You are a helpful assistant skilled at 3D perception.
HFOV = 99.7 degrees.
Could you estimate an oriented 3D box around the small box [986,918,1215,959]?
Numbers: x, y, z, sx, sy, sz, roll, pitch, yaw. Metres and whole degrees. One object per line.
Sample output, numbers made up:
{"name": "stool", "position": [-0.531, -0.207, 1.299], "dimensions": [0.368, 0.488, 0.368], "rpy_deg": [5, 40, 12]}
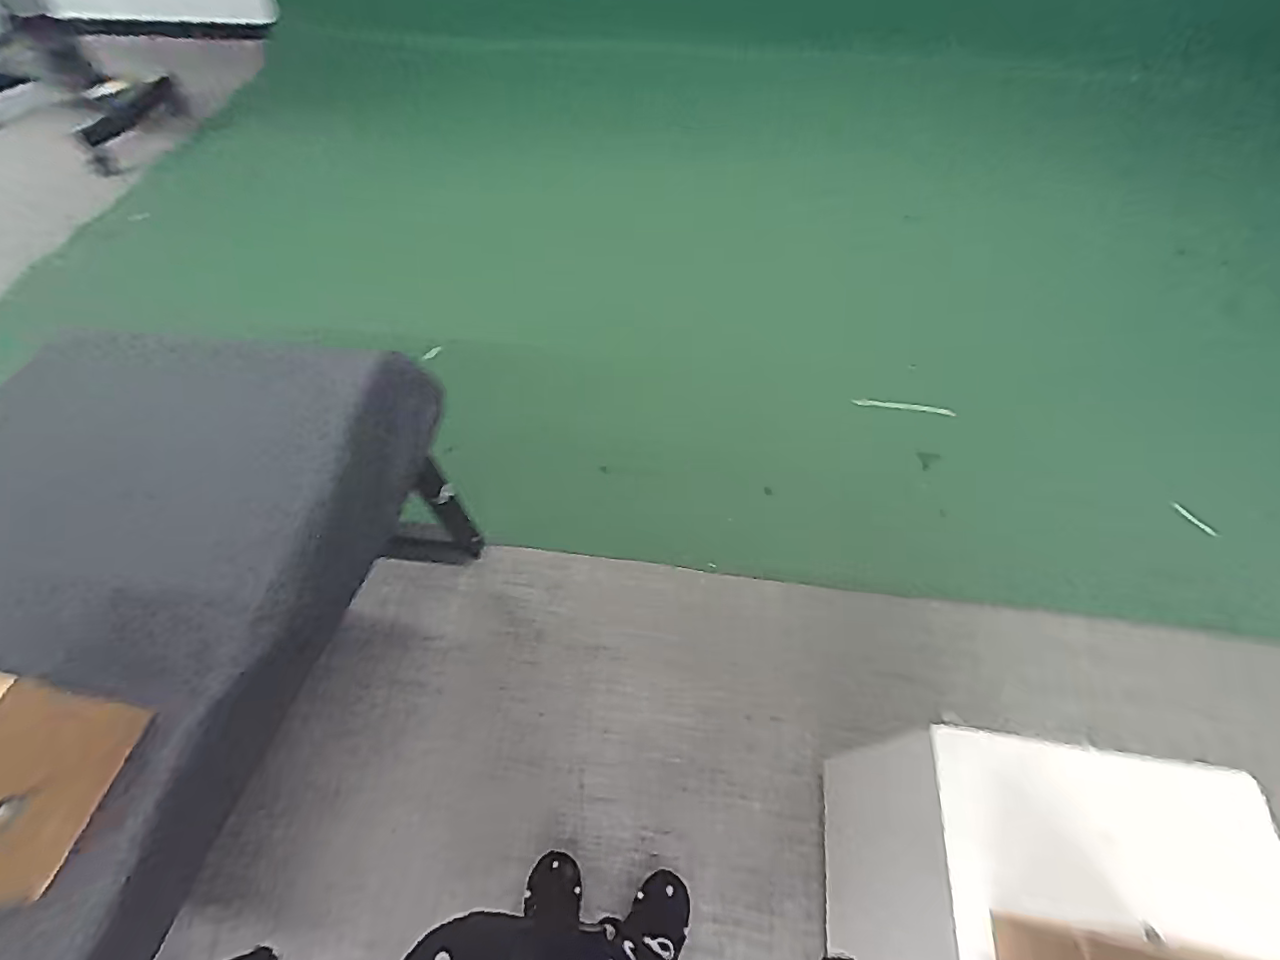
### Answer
{"name": "small box", "position": [0.467, 0.532, 0.502], "dimensions": [0.179, 0.176, 0.168], "rpy_deg": [5, 58, 6]}

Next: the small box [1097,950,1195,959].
{"name": "small box", "position": [0.466, 0.445, 0.362], "dimensions": [0.179, 0.176, 0.168], "rpy_deg": [4, 59, 3]}
